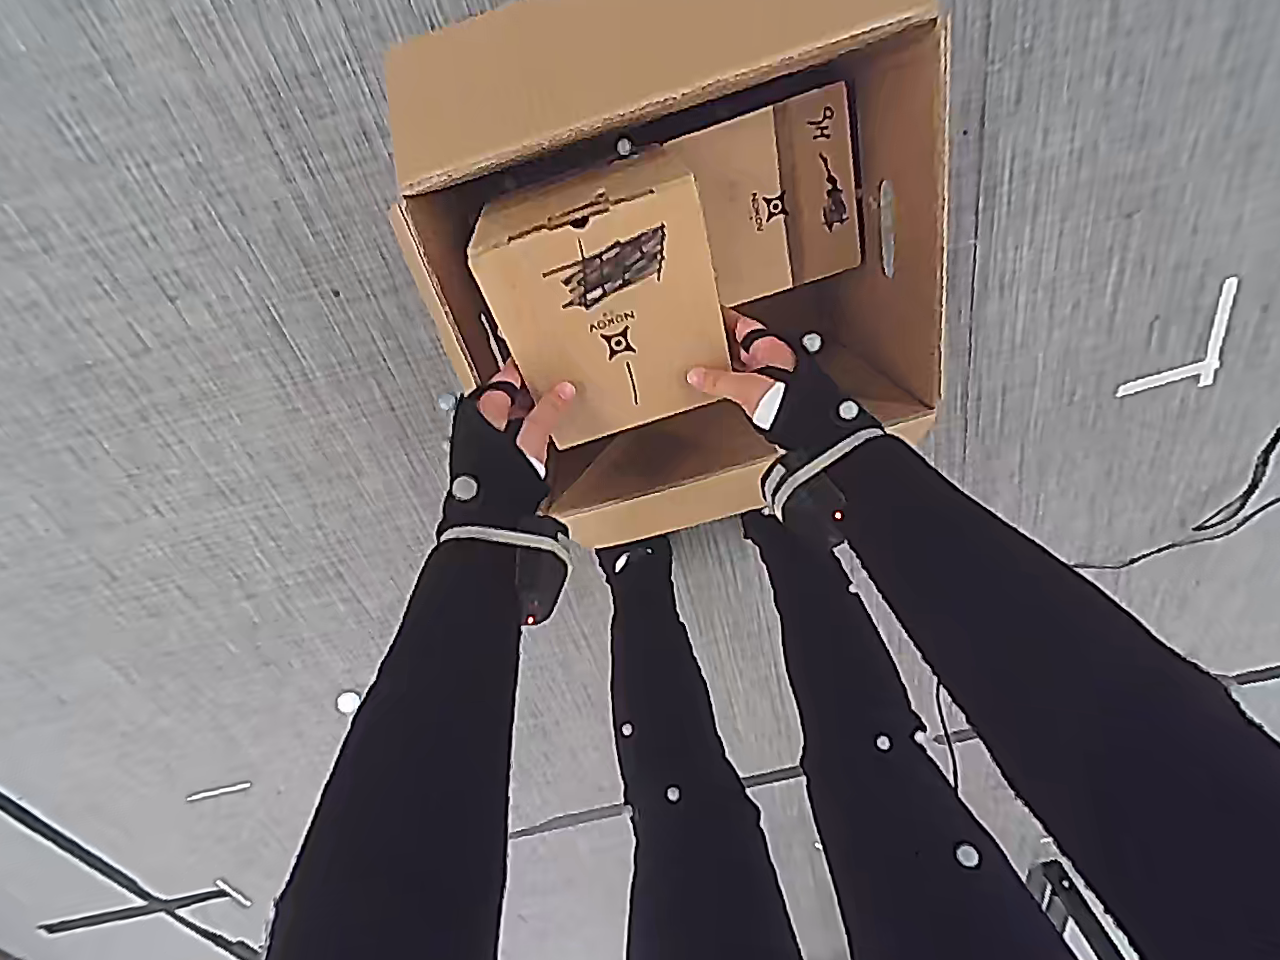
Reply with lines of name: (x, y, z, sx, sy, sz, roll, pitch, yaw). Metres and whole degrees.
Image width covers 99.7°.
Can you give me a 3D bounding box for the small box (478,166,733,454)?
small box: (-0.029, -0.158, 0.483, 0.168, 0.176, 0.179, -17, 132, 3)
